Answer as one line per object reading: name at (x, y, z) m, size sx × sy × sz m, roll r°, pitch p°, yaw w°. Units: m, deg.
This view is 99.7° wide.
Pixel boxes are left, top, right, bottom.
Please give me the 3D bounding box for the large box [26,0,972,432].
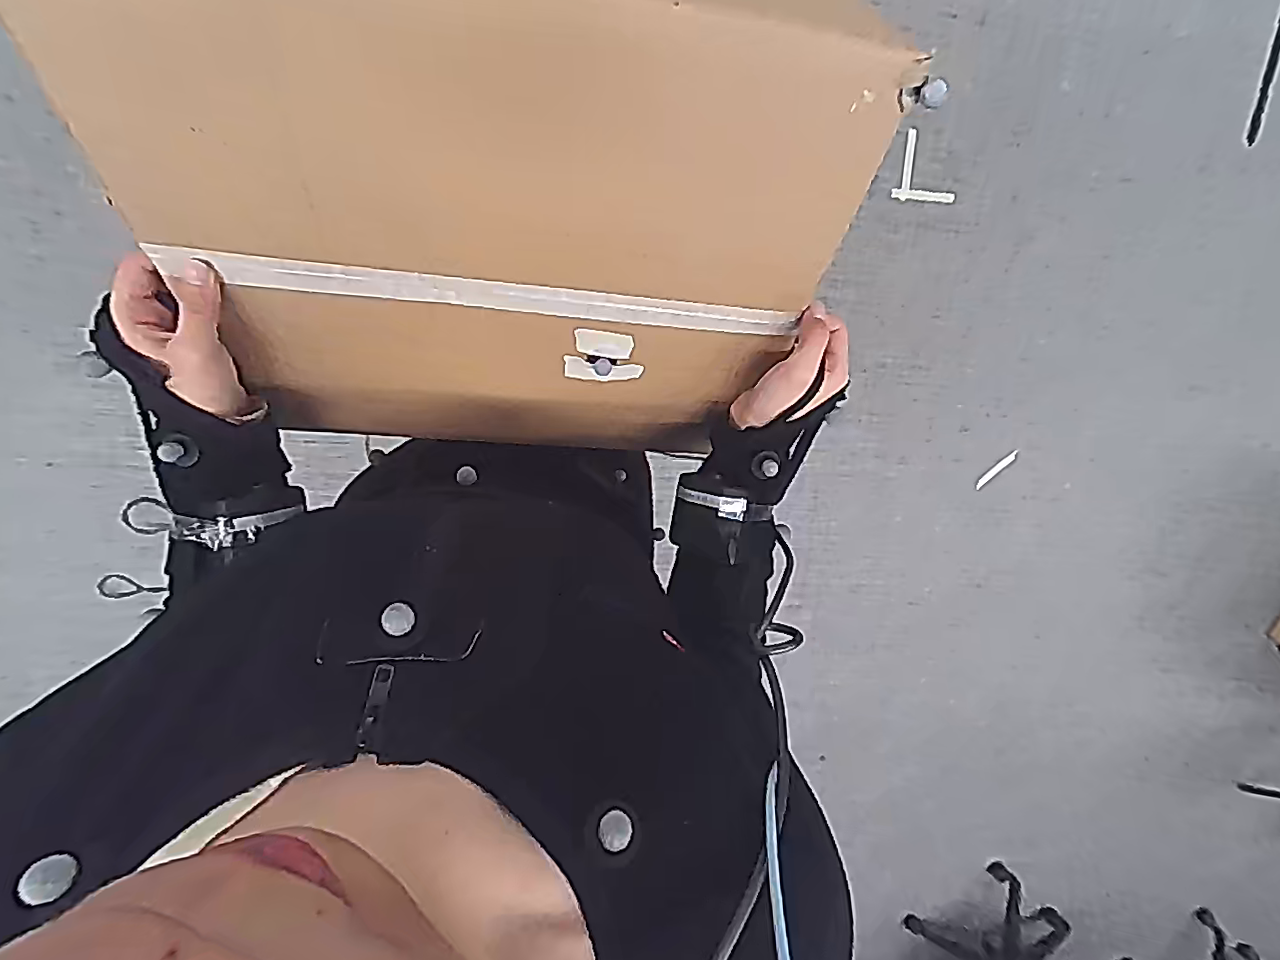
large box at (-0.081, -0.256, 0.411) m, size 0.408 × 0.320 × 0.320 m, roll 2°, pitch 146°, yaw -11°
